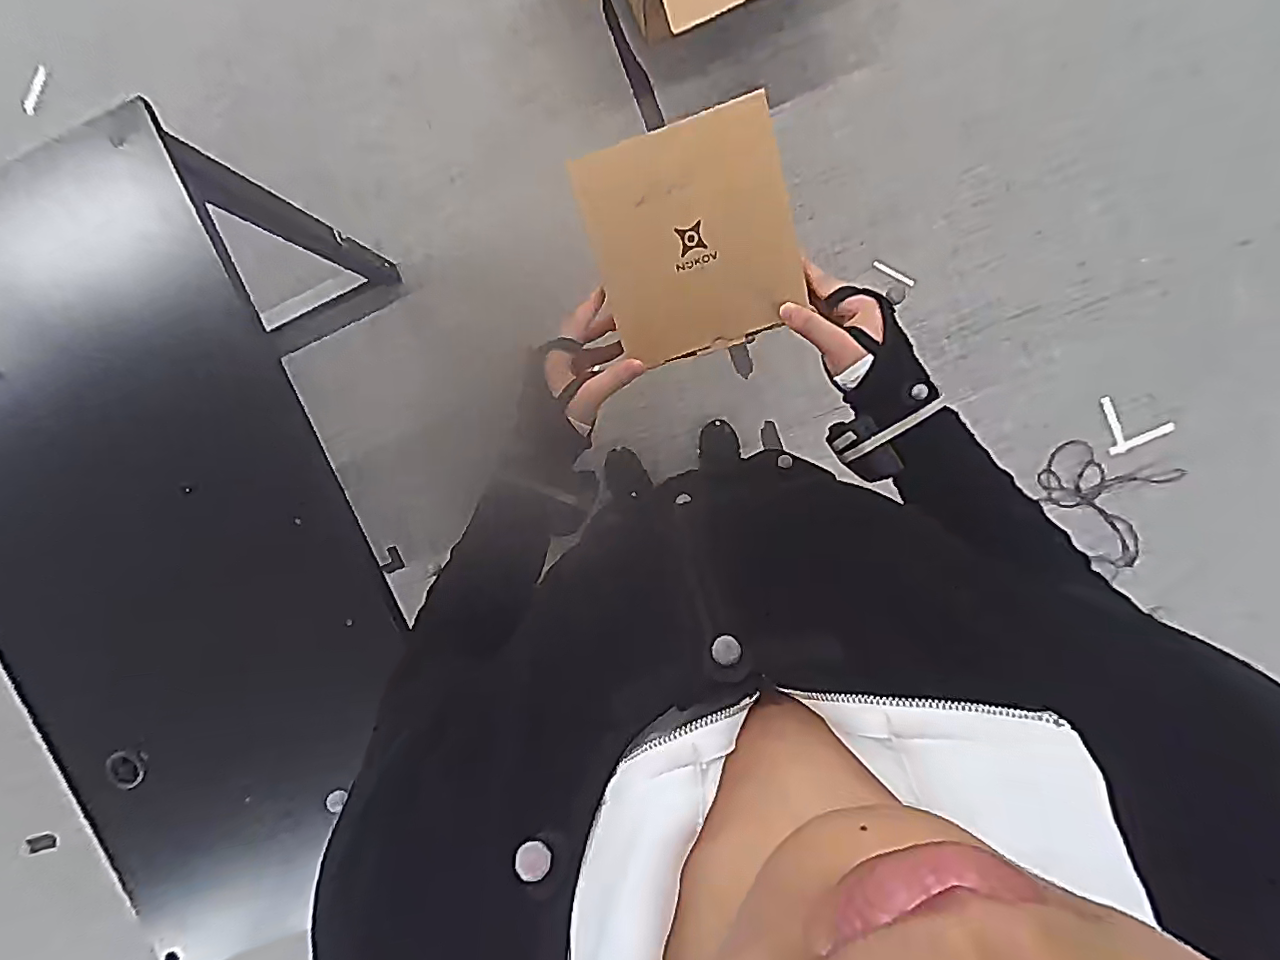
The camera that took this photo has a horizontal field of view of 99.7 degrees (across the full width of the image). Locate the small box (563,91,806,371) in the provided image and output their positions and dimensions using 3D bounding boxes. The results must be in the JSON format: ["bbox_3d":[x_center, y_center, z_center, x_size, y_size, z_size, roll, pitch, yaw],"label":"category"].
[{"bbox_3d":[0.043,-0.223,0.521,0.168,0.176,0.179,-17,107,7],"label":"small box"}]
